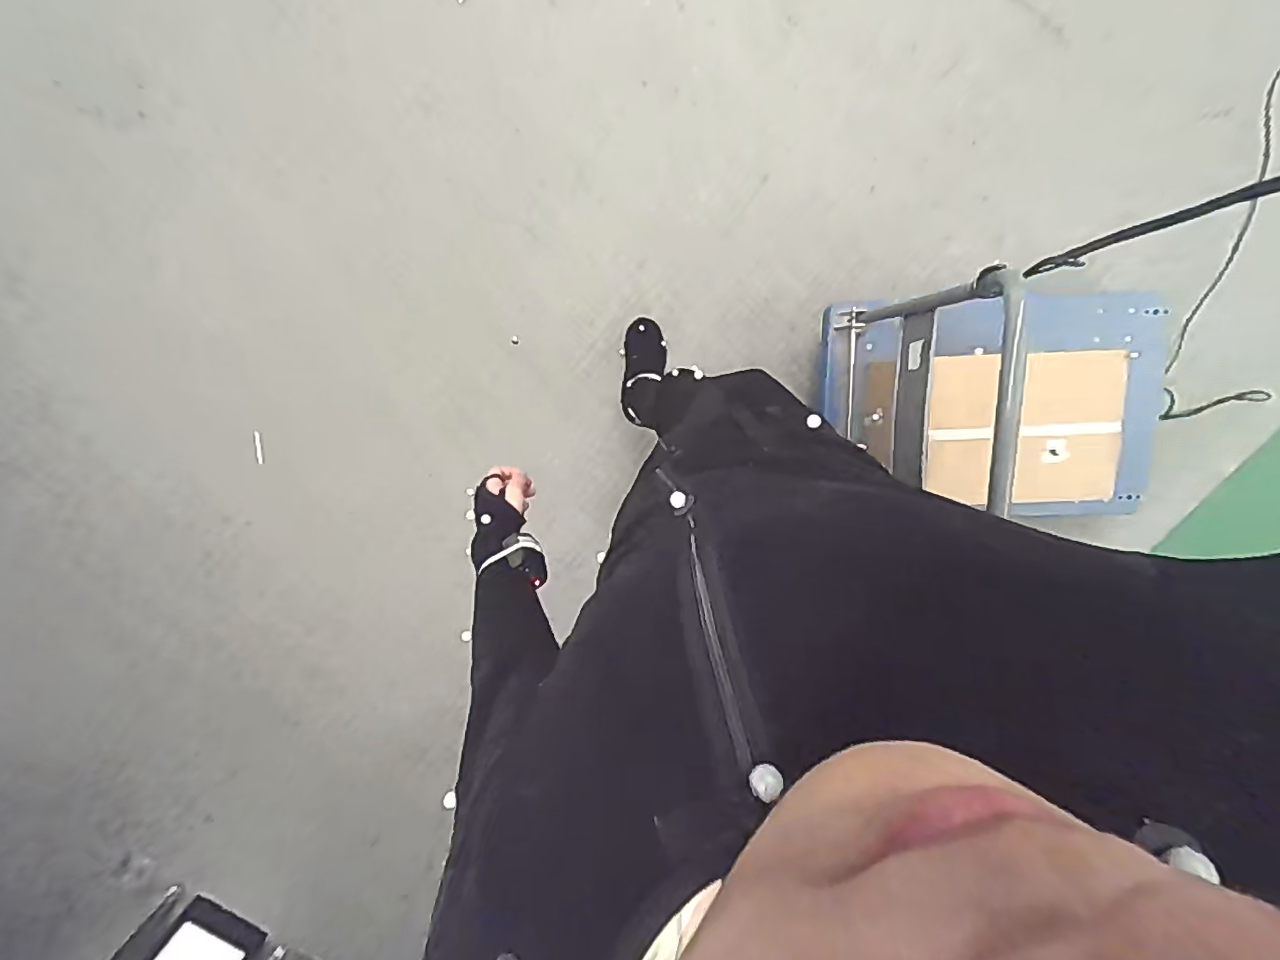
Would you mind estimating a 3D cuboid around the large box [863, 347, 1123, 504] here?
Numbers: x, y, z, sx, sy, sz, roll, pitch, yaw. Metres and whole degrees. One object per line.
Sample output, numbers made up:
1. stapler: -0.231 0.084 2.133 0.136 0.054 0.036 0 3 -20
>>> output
1. large box: 0.777 -0.134 1.256 0.408 0.320 0.320 -2 101 -1
